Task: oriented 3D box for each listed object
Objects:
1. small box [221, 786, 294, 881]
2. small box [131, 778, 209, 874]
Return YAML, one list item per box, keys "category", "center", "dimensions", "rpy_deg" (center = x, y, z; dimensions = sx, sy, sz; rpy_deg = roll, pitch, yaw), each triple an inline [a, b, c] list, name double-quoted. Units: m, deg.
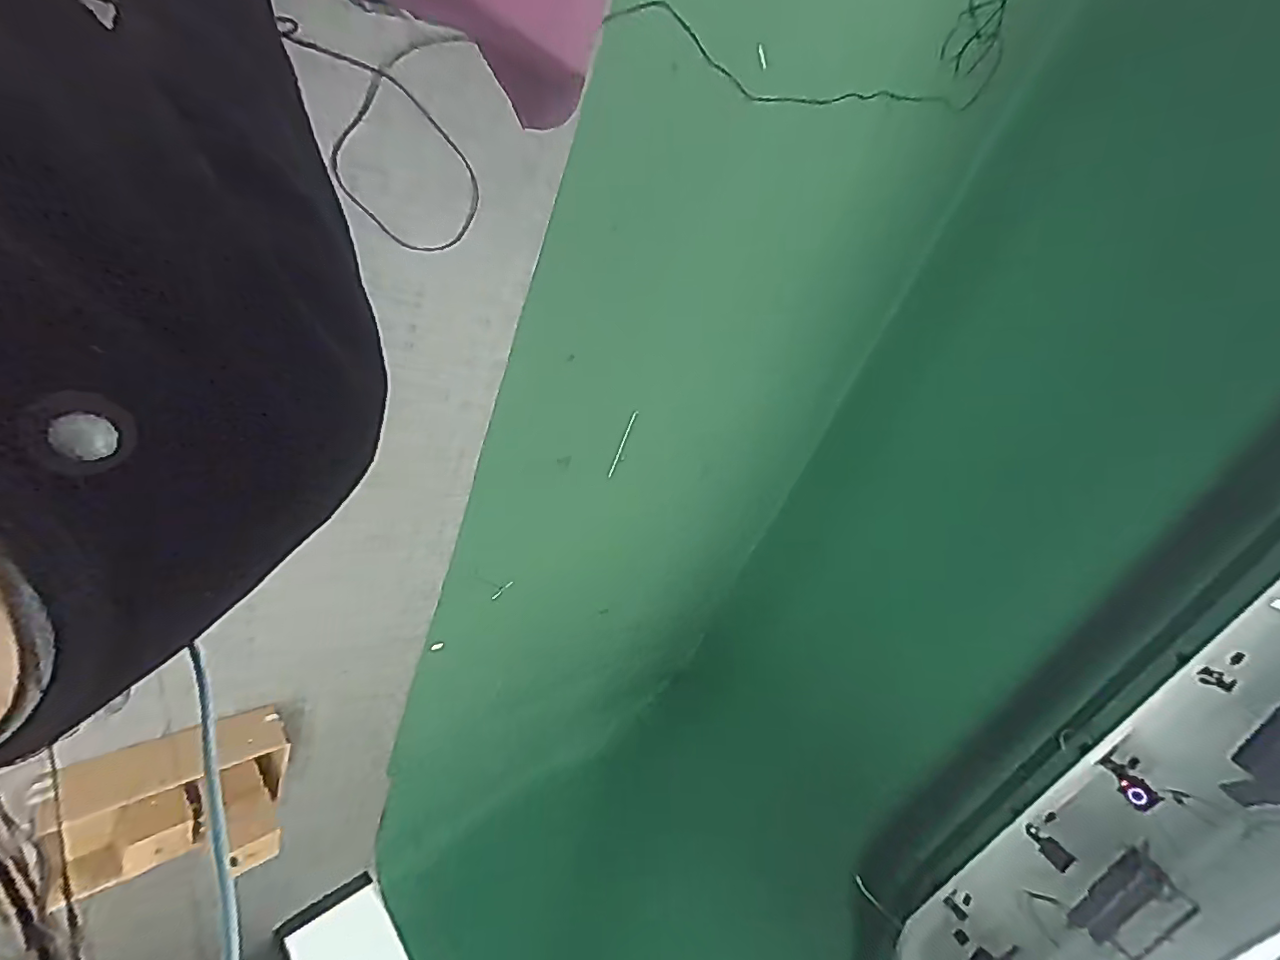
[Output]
- category: "small box"
  center: [-1.309, 1.199, 1.845]
  dimensions: [0.179, 0.176, 0.168]
  rpy_deg: [-10, 128, -47]
- category: "small box"
  center: [-1.553, 1.134, 1.784]
  dimensions: [0.168, 0.176, 0.179]
  rpy_deg: [-6, 126, -51]
